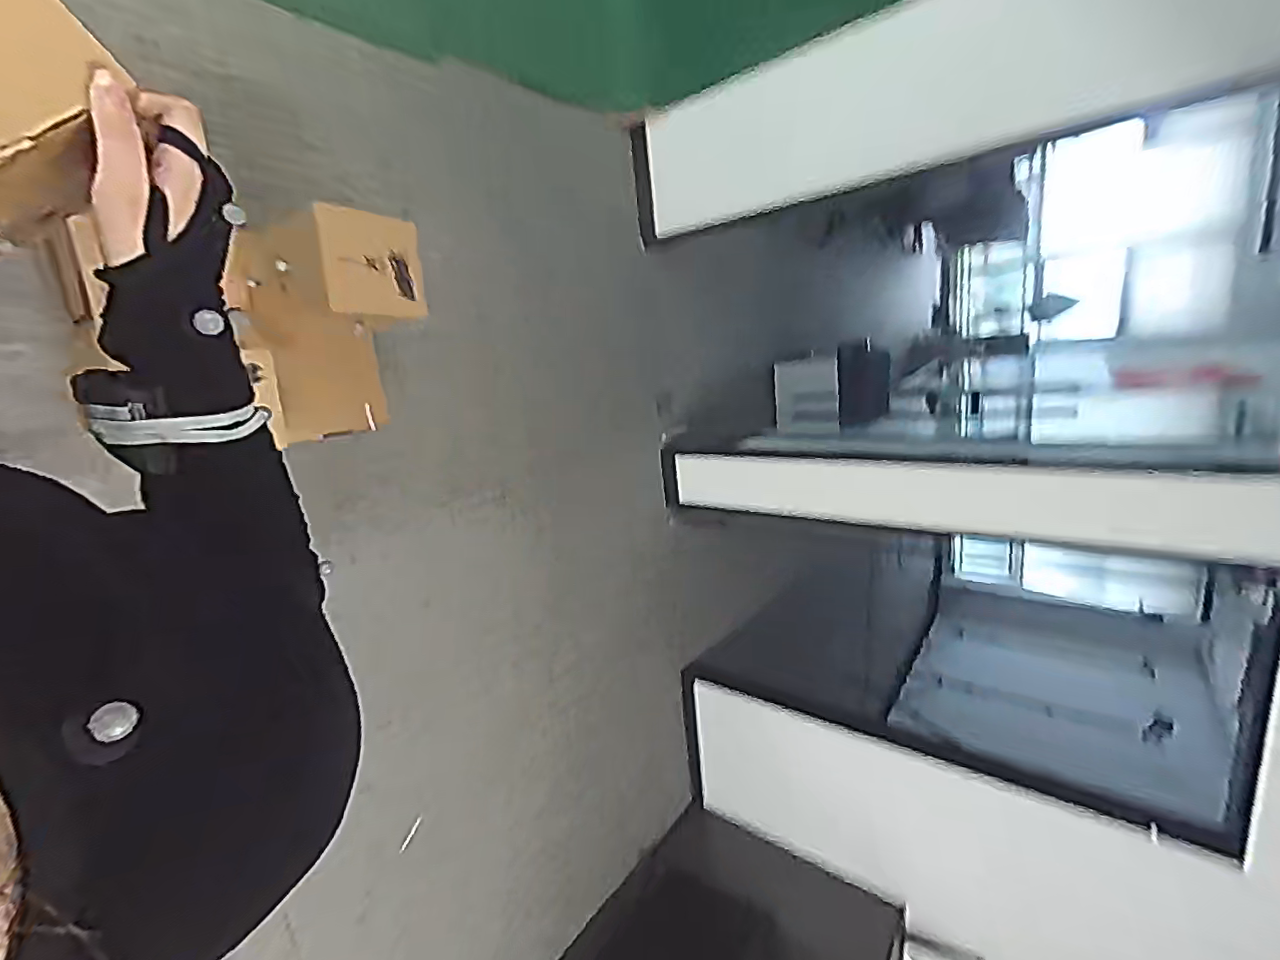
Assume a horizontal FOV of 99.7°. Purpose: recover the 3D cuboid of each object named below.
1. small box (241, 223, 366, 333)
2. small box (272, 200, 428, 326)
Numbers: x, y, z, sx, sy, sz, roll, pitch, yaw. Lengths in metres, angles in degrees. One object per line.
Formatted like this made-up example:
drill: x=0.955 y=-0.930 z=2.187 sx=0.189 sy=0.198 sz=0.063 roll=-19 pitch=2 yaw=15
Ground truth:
small box: x=-0.632 y=-0.384 z=1.056 sx=0.179 sy=0.176 sz=0.168 roll=-21 pitch=109 yaw=-53
small box: x=-0.506 y=-0.367 z=0.951 sx=0.179 sy=0.176 sz=0.168 roll=-18 pitch=106 yaw=-53
